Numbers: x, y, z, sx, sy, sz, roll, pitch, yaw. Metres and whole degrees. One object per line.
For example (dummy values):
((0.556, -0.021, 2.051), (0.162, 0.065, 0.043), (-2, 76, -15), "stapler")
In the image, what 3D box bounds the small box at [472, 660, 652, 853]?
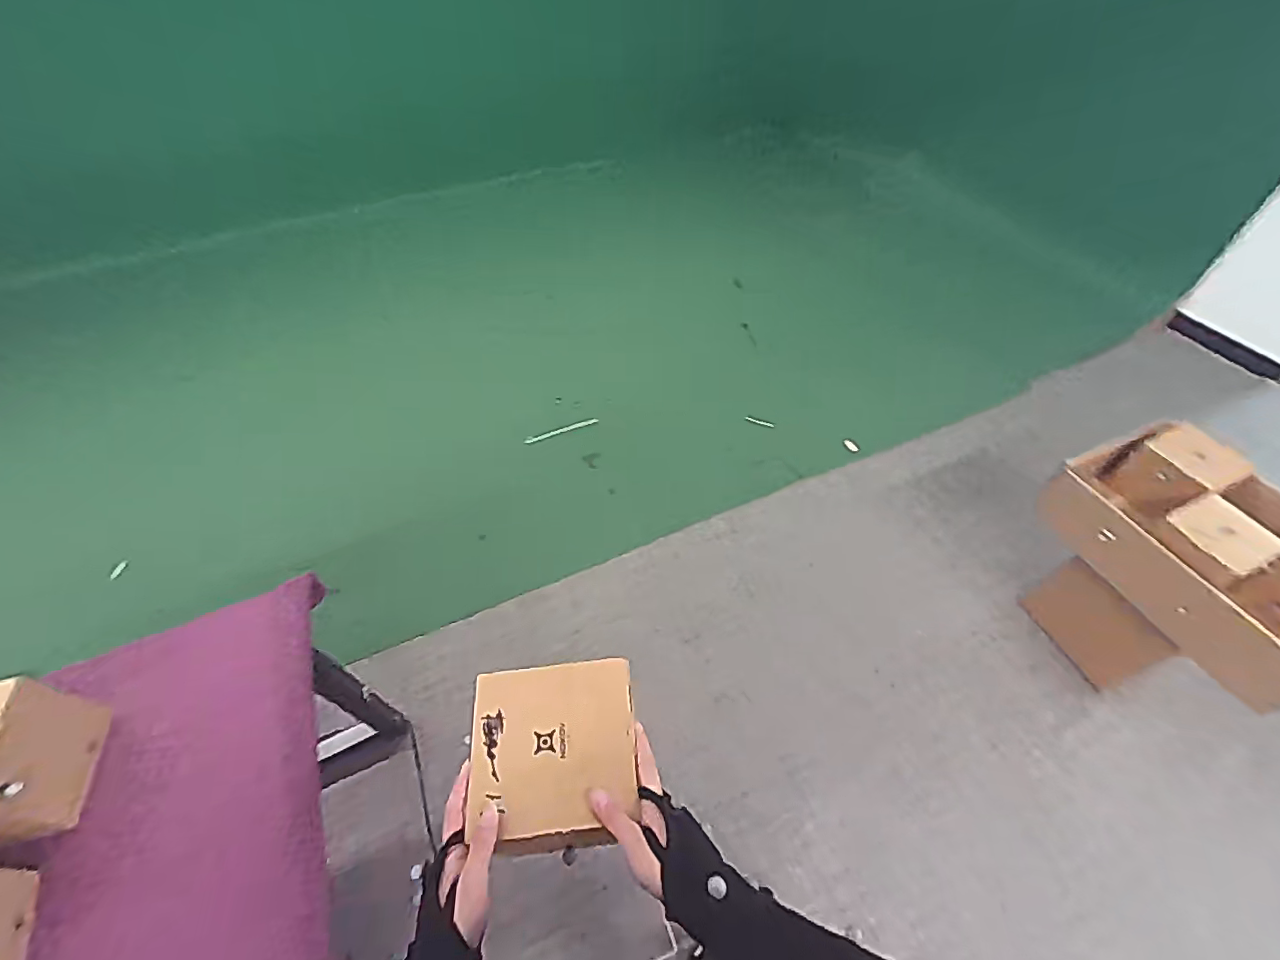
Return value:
((-0.082, 0.326, 0.634), (0.179, 0.176, 0.168), (-4, 51, -3), "small box")

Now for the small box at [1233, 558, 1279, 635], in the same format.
((1.491, 0.238, 1.185), (0.179, 0.176, 0.168), (-20, 54, -12), "small box")
